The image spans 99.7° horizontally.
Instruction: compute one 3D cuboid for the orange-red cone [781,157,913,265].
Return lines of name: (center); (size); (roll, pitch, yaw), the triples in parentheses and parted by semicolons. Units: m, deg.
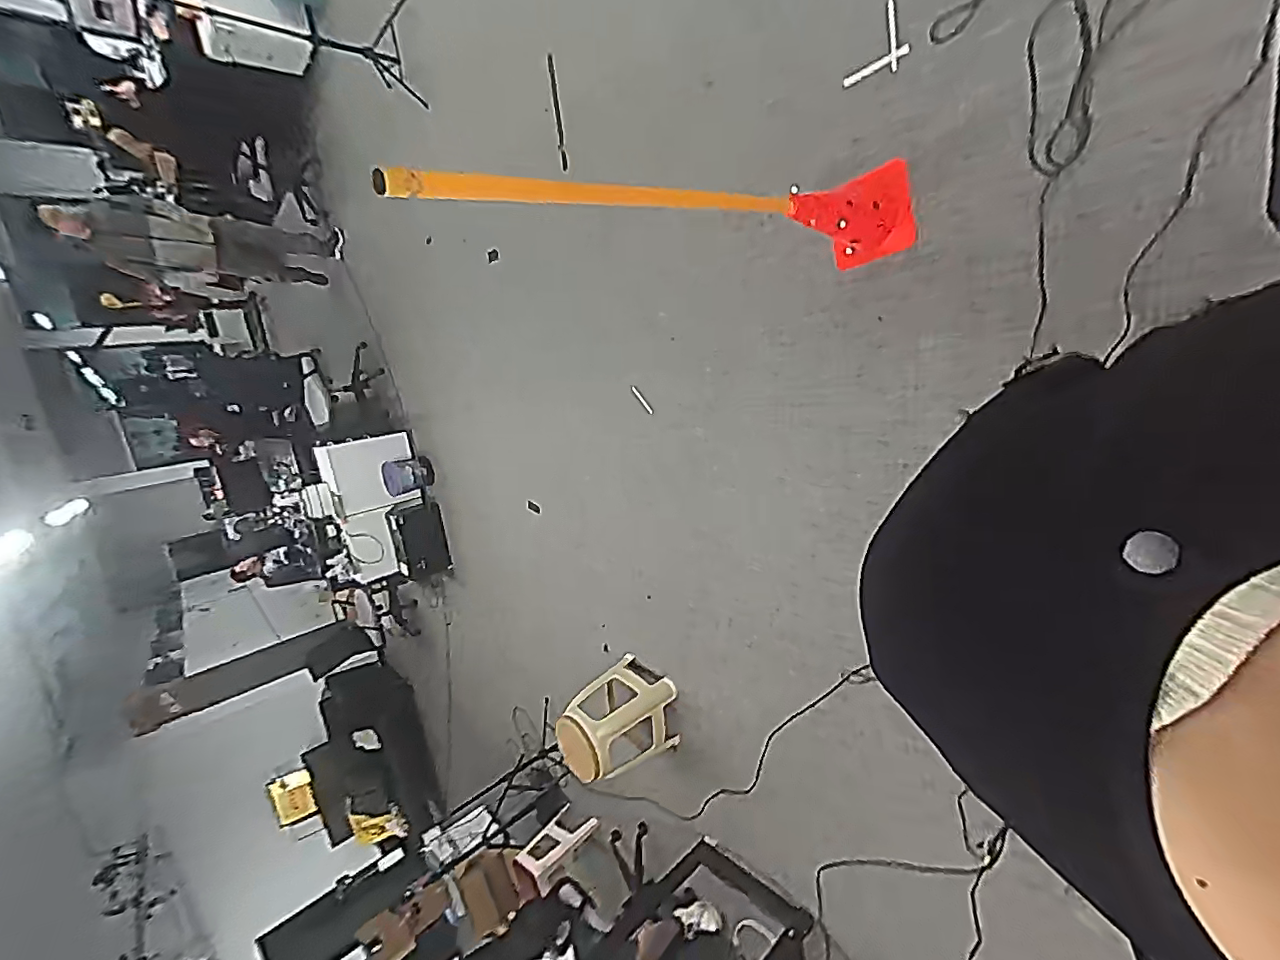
orange-red cone: (0.428, -0.604, 1.200); (0.199, 0.360, 0.198); (-4, 102, 49)
